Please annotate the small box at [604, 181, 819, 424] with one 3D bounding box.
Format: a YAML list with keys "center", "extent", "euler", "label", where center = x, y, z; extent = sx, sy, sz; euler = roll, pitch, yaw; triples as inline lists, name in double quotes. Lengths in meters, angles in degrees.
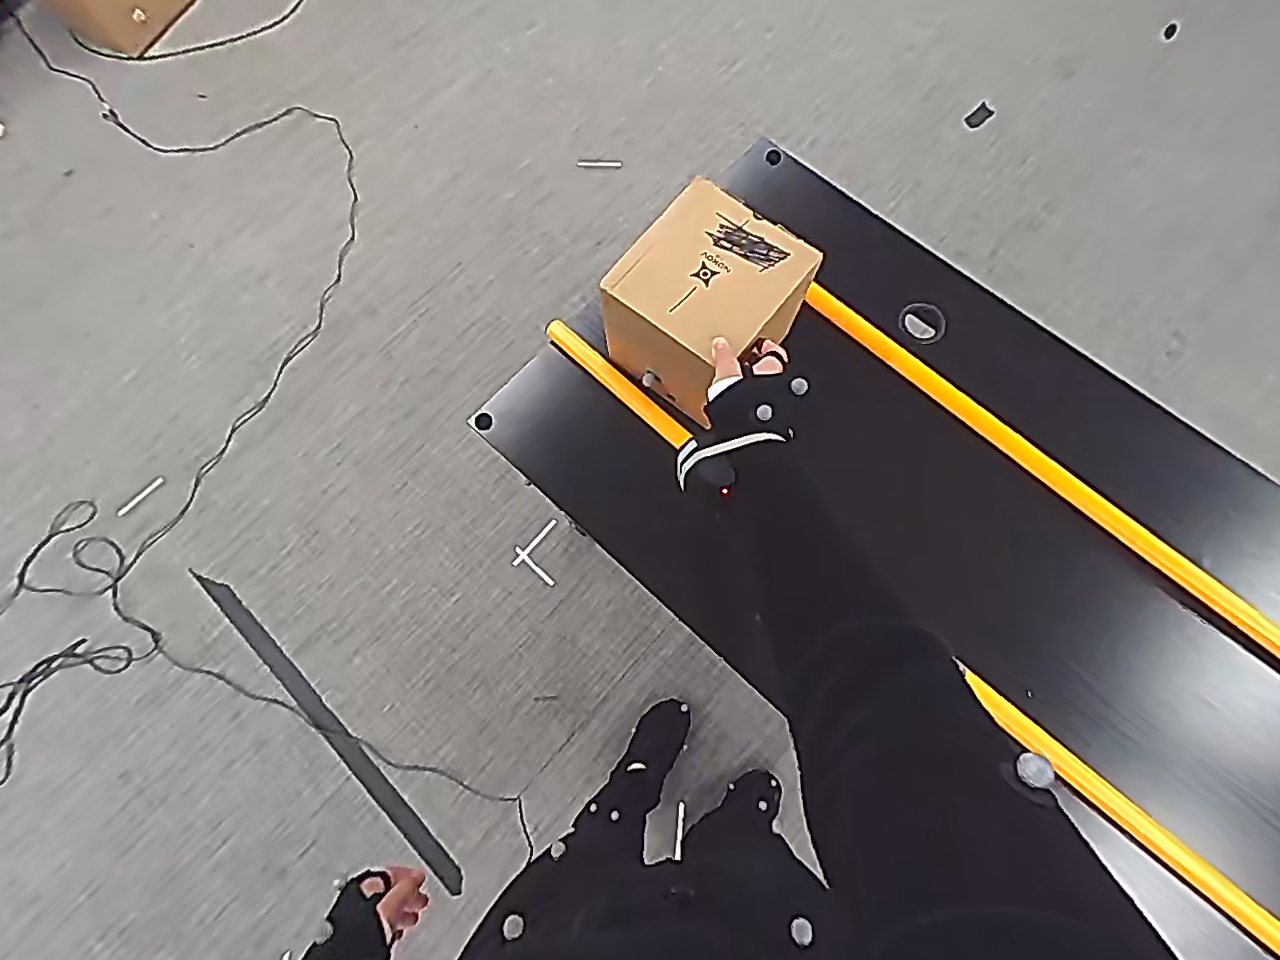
- center: [0.076, -0.199, 0.646]
  extent: [0.168, 0.176, 0.179]
  euler: [38, 80, 10]
  label: "small box"
